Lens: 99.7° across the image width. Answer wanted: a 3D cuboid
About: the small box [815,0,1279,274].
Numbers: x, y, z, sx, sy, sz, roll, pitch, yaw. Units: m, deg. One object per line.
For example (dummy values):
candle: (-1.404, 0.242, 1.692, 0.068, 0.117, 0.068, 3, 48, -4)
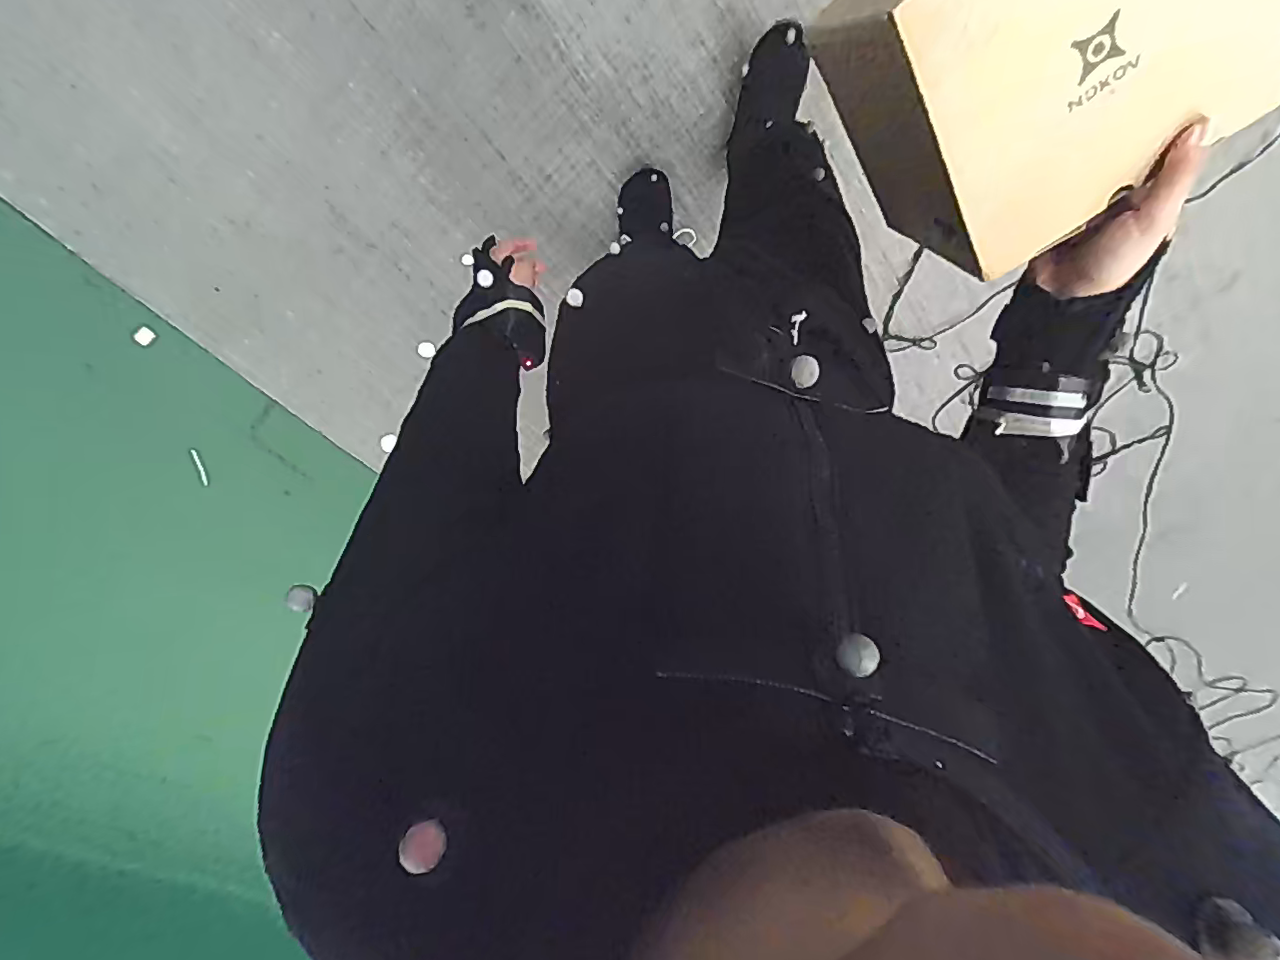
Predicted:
small box: (0.240, -0.273, 0.348, 0.168, 0.176, 0.179, -33, 123, 20)
